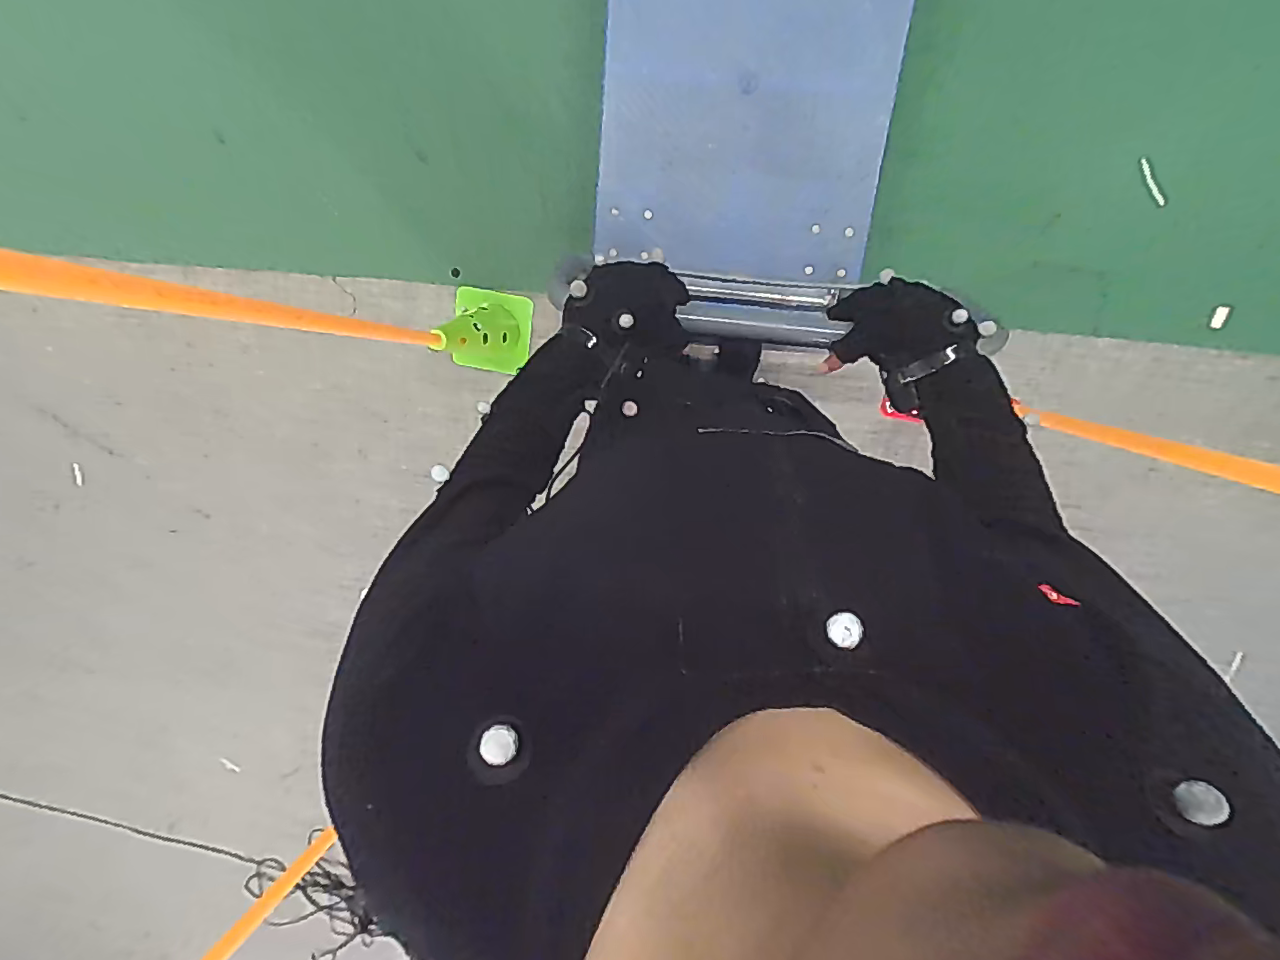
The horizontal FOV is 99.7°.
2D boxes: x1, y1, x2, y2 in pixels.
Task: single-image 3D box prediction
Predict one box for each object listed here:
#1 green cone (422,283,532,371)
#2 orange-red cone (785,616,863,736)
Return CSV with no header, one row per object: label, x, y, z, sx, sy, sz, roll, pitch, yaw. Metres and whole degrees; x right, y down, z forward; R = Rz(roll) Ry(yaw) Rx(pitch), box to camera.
green cone,-0.396,-0.346,1.245,0.202,0.368,0.200,10,108,1
orange-red cone,0.536,0.557,1.482,0.199,0.360,0.198,6,107,4
